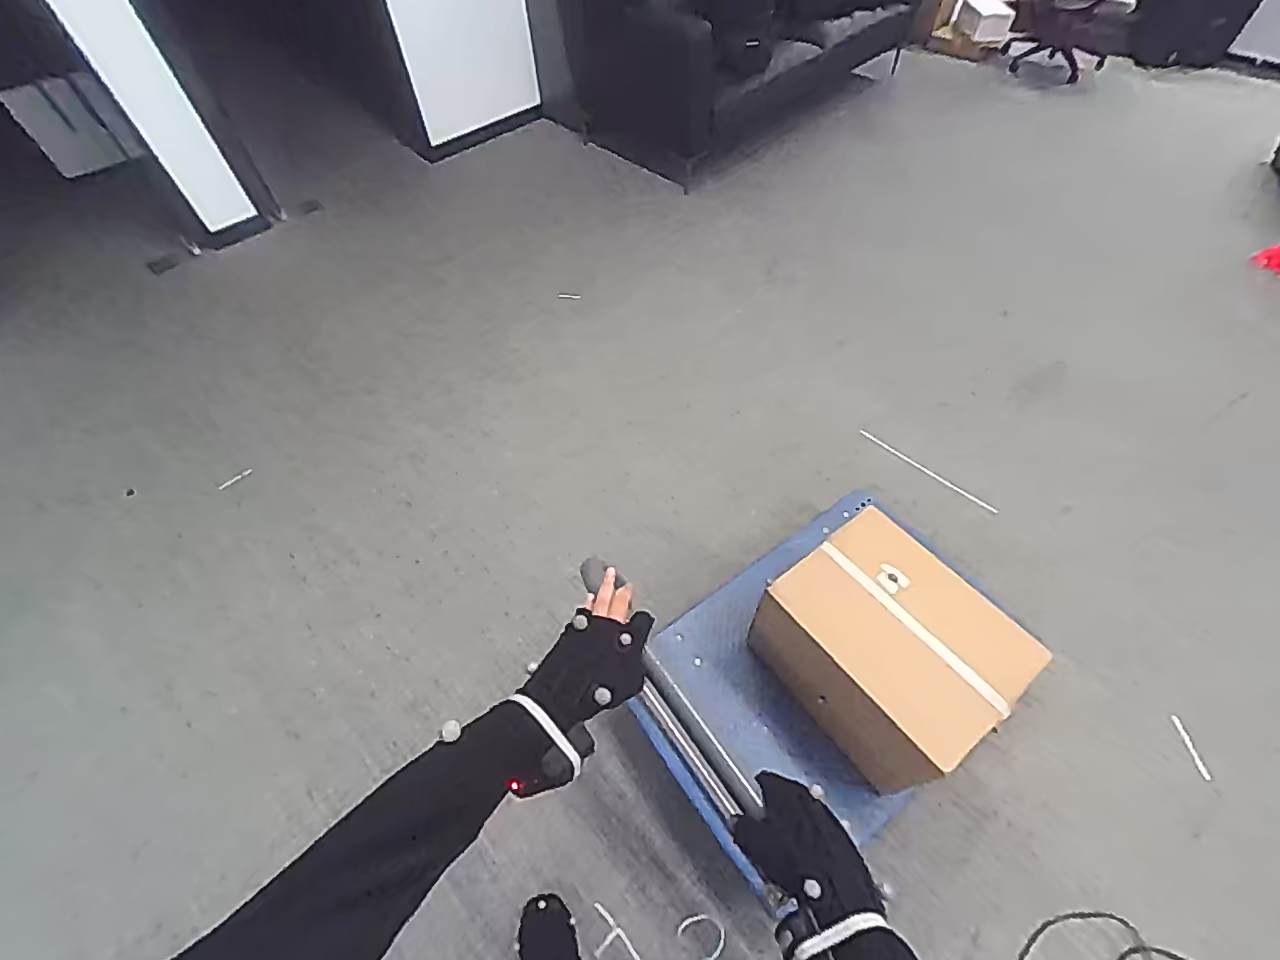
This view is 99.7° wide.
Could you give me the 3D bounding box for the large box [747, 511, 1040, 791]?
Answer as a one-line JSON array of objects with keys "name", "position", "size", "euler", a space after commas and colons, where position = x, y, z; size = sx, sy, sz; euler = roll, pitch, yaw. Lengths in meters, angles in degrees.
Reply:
[{"name": "large box", "position": [0.481, 0.351, 1.124], "size": [0.320, 0.320, 0.408], "euler": [-32, 58, -19]}]
